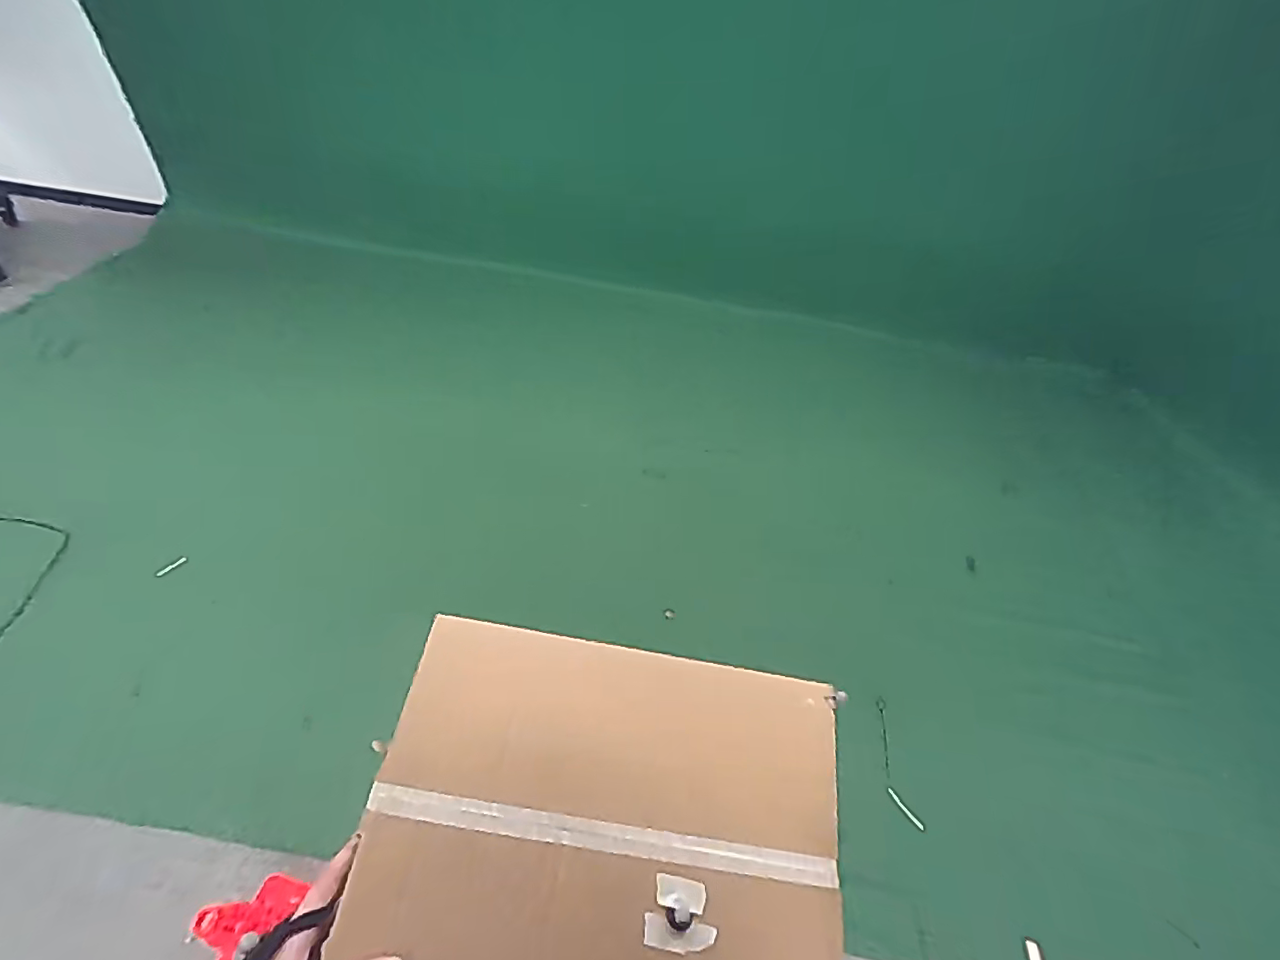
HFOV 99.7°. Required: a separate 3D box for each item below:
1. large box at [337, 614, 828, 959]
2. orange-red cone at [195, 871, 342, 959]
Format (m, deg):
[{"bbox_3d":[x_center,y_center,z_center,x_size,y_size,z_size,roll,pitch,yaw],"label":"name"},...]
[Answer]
[{"bbox_3d":[-0.044,0.370,0.613,0.408,0.320,0.320,11,62,-2],"label":"large box"},{"bbox_3d":[-0.784,0.887,1.078,0.199,0.360,0.198,14,45,8],"label":"orange-red cone"}]
